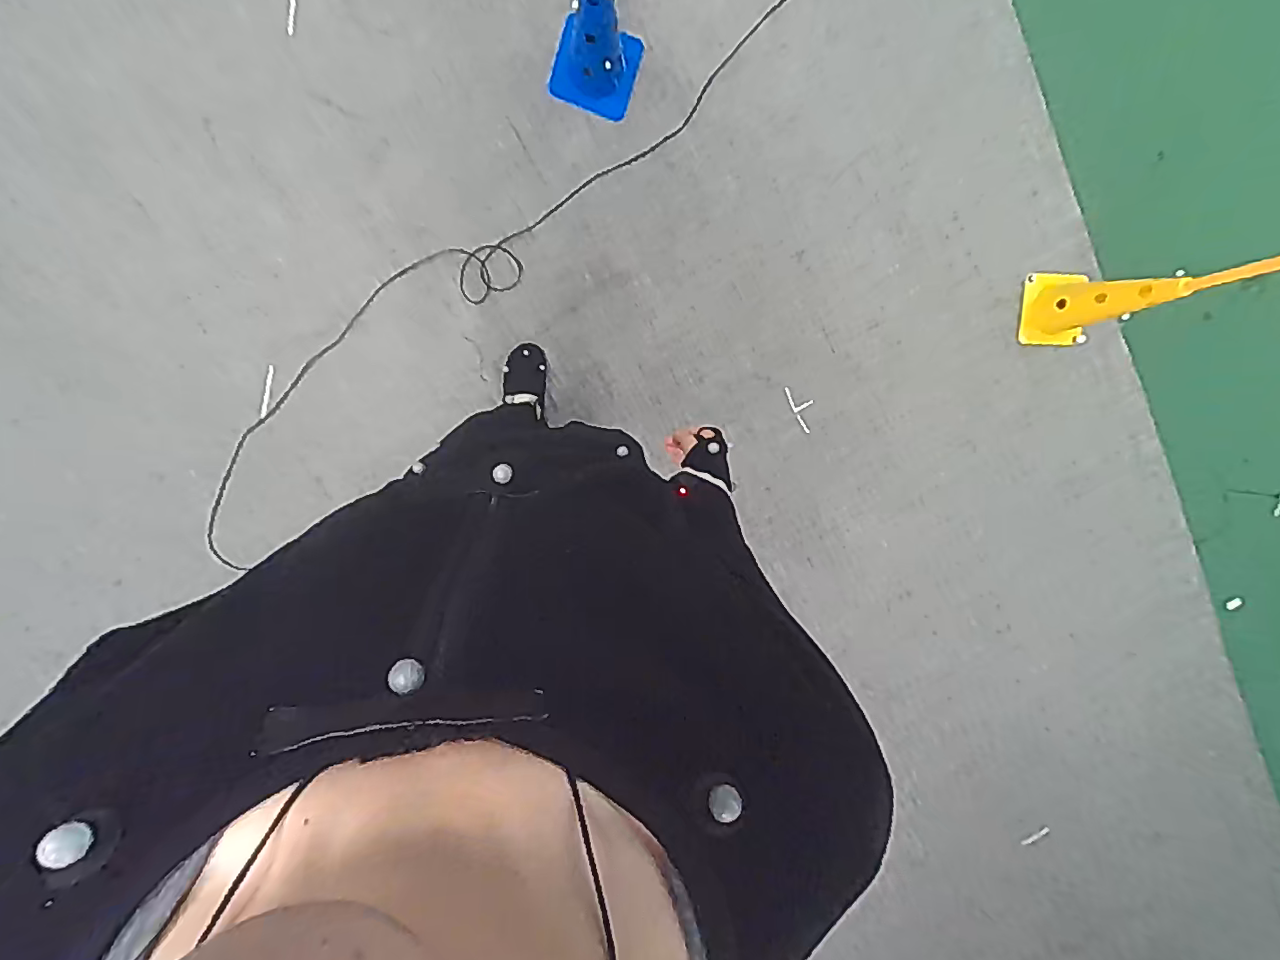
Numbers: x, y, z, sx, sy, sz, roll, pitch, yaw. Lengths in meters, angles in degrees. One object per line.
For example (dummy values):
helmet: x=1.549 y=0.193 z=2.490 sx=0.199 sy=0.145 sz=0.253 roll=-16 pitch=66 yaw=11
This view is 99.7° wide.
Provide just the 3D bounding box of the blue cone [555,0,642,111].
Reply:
blue cone: x=-0.090 y=-0.991 z=1.162 sx=0.193 sy=0.380 sz=0.192 roll=16 pitch=98 yaw=-7
